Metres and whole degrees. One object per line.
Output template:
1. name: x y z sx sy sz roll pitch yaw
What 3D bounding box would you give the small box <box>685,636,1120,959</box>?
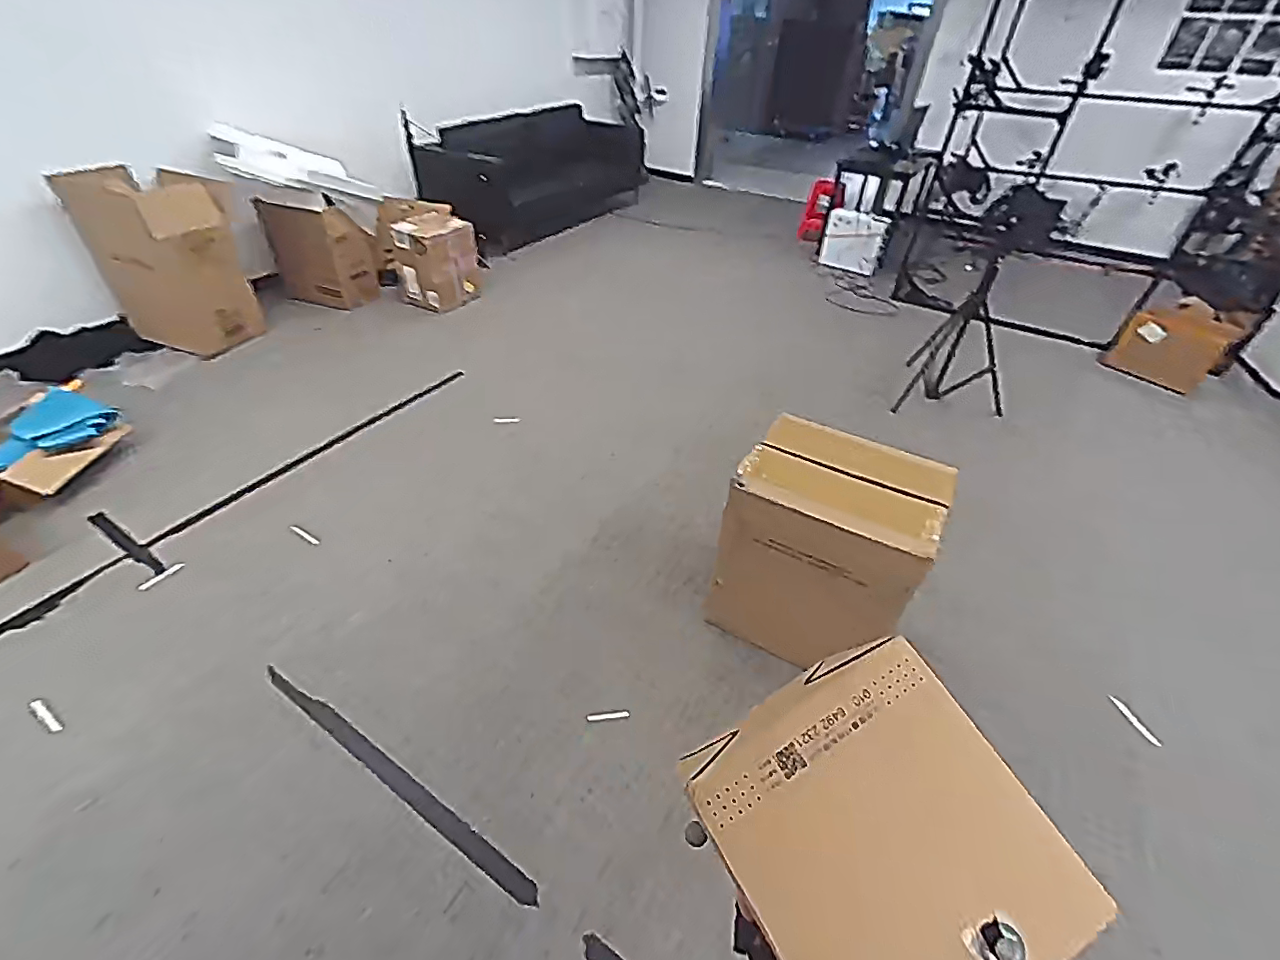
1. small box: 0.143 0.226 0.371 0.168 0.179 0.176 -31 69 -9
